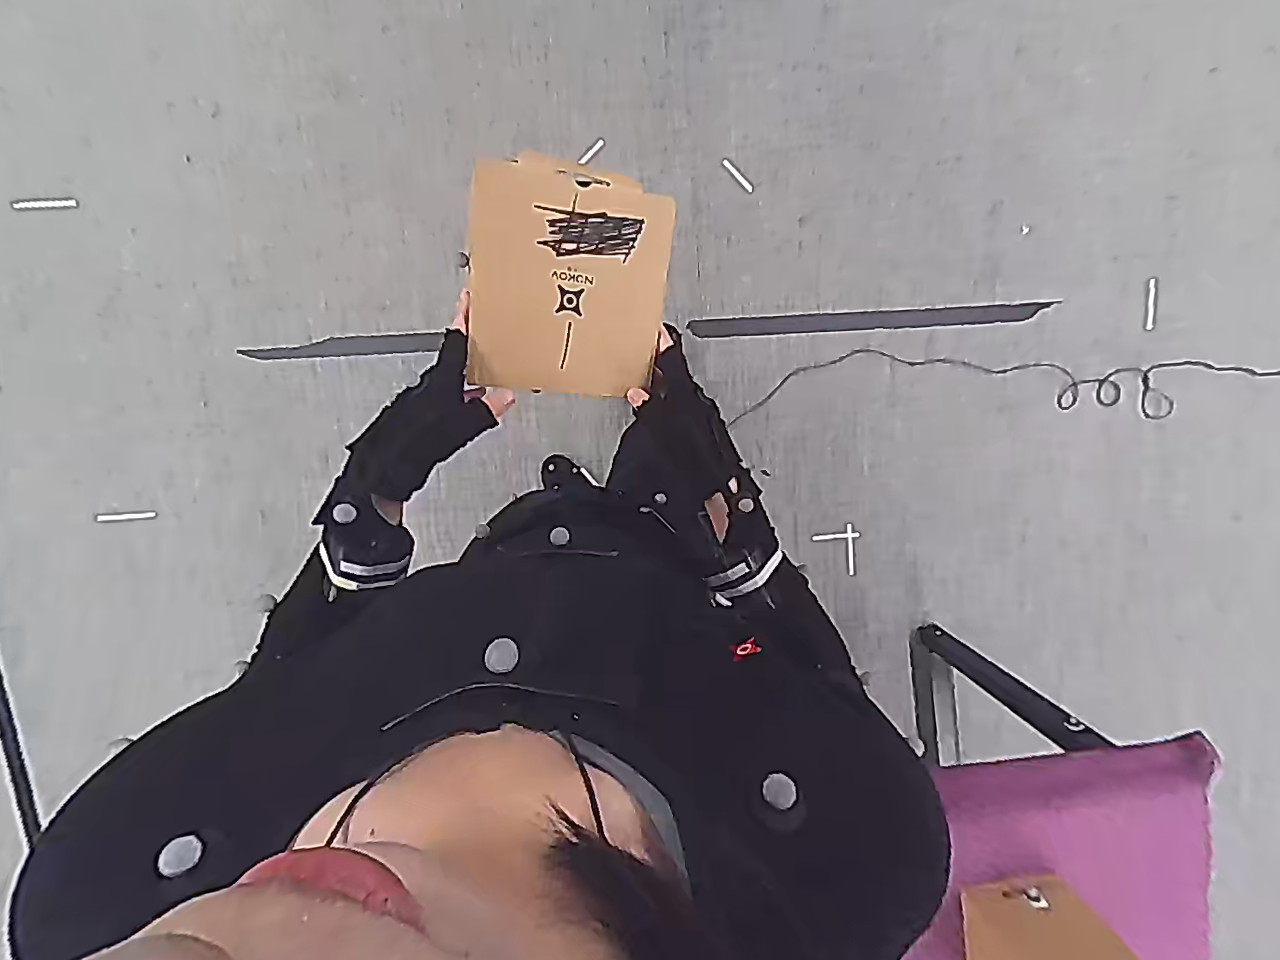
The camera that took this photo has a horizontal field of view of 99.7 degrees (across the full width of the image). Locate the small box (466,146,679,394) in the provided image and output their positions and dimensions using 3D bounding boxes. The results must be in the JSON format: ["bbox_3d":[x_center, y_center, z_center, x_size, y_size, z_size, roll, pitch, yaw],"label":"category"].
[{"bbox_3d":[-0.078,-0.189,0.527,0.168,0.176,0.179,2,106,-20],"label":"small box"}]

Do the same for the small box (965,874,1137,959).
[{"bbox_3d":[0.625,0.749,0.814,0.168,0.176,0.179,-10,97,-3],"label":"small box"}]
